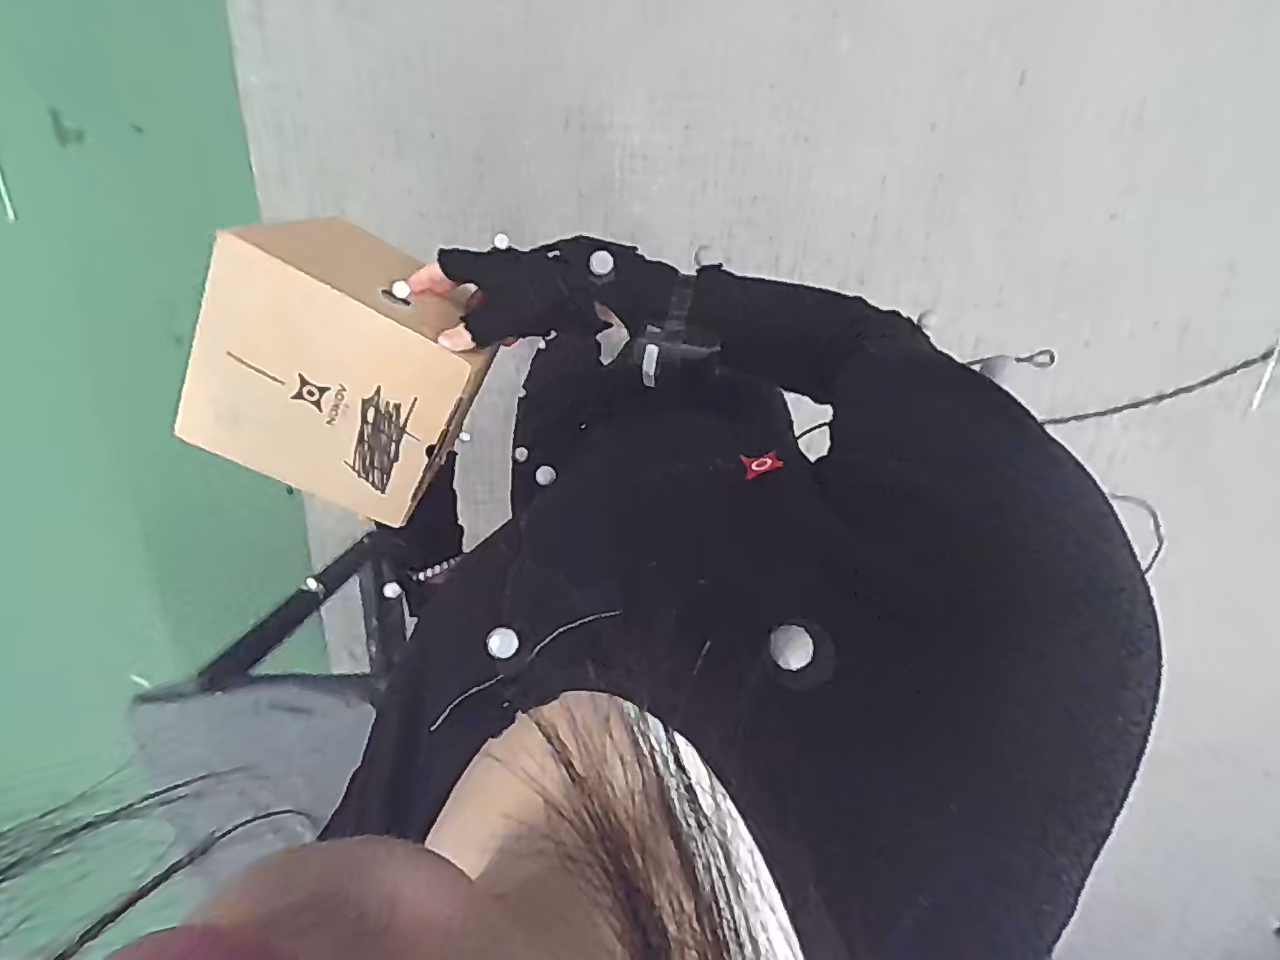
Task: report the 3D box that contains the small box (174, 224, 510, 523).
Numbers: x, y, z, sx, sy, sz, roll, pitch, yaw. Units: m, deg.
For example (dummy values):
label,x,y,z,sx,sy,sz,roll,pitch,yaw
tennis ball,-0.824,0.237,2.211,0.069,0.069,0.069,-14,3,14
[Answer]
label,x,y,z,sx,sy,sz,roll,pitch,yaw
small box,-0.232,-0.100,0.465,0.179,0.176,0.168,30,112,-17
